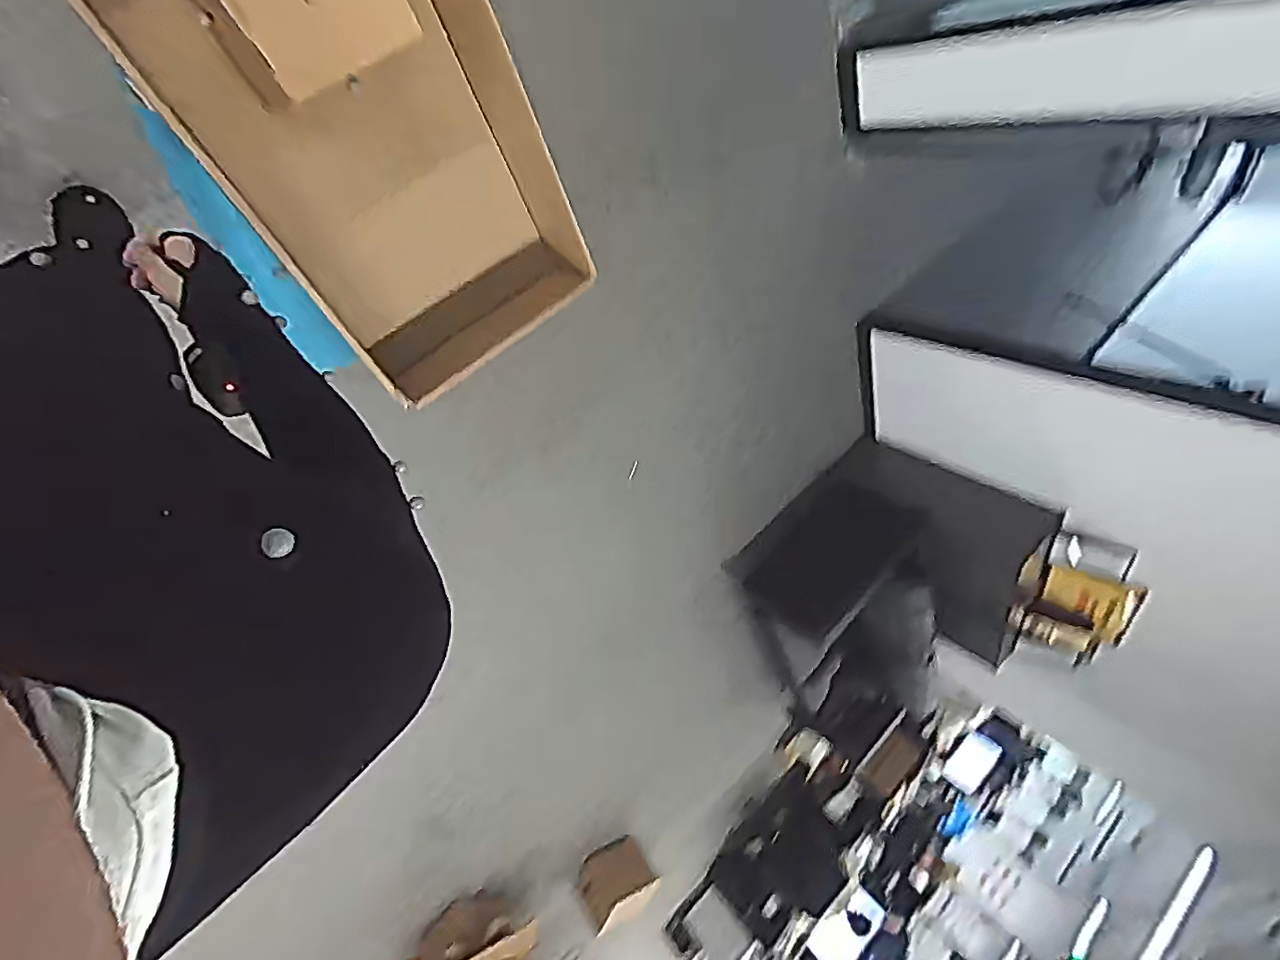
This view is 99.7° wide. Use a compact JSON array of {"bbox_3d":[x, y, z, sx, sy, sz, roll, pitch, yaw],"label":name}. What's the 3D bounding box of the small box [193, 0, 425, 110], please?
[{"bbox_3d":[-0.387,-0.547,0.609,0.179,0.176,0.168,-42,136,-15],"label":"small box"}]
